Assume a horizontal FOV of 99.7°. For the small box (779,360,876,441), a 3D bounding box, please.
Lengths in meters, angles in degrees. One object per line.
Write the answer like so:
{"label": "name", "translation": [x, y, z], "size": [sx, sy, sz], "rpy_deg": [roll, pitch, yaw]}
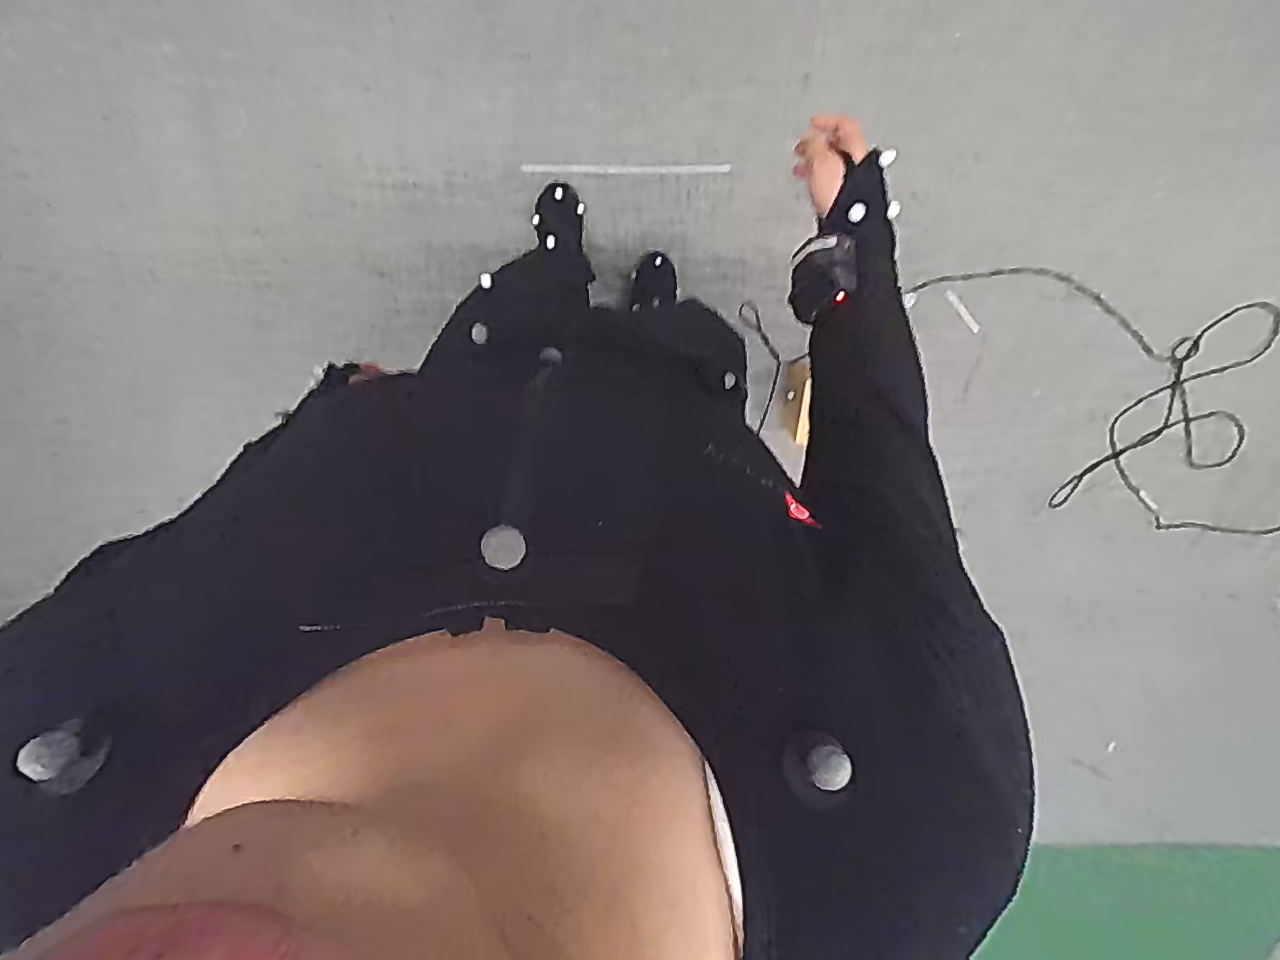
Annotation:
{"label": "small box", "translation": [0.470, -0.209, 1.388], "size": [0.179, 0.176, 0.168], "rpy_deg": [2, 116, -2]}
